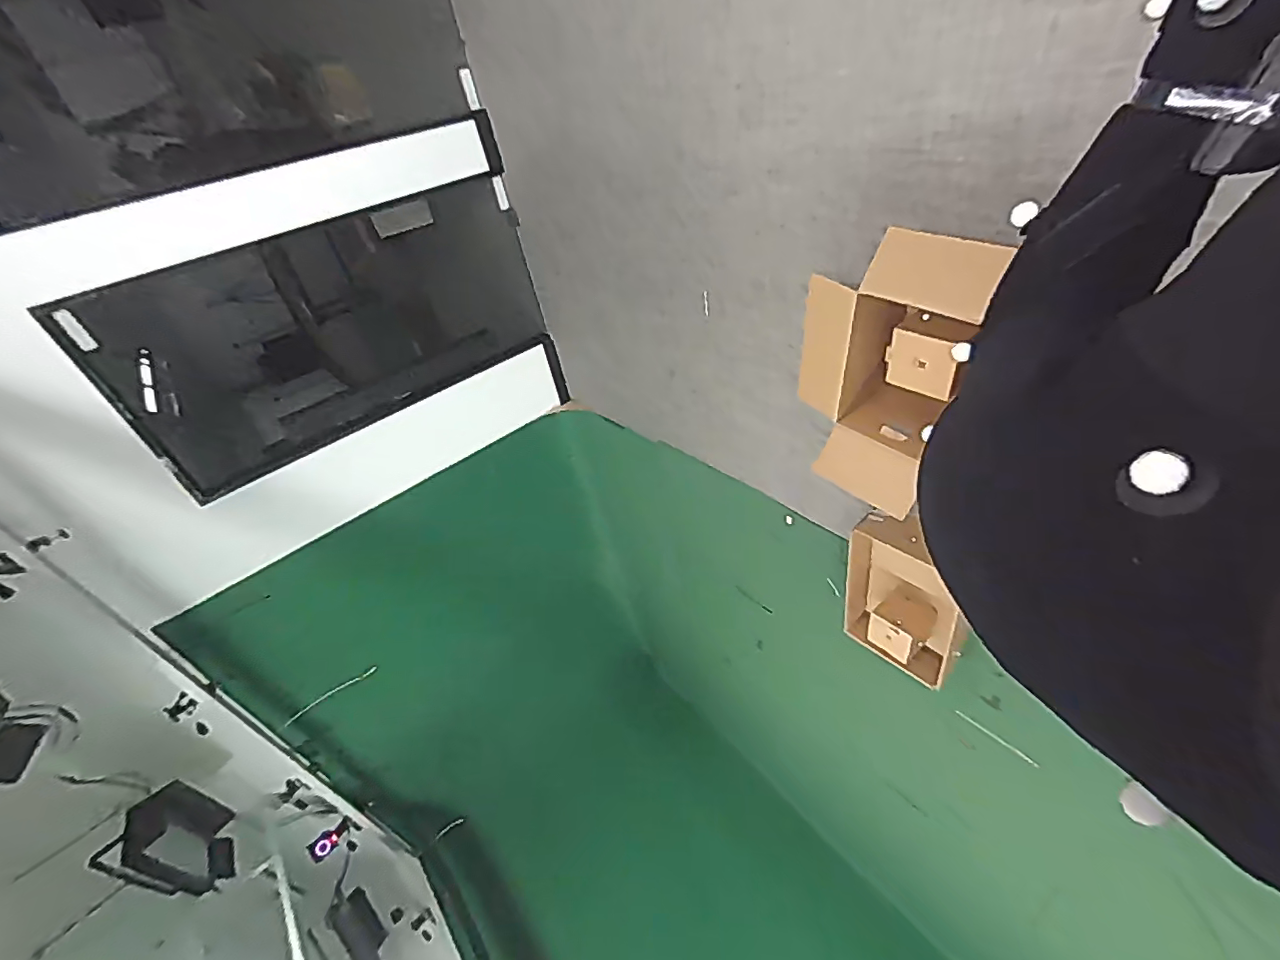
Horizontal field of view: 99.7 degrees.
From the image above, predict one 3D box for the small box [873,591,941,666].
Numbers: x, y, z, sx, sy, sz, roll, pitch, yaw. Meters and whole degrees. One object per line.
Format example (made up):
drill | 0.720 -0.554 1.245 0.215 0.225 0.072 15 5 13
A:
small box | 1.015 0.561 2.056 0.168 0.176 0.179 33 146 44
